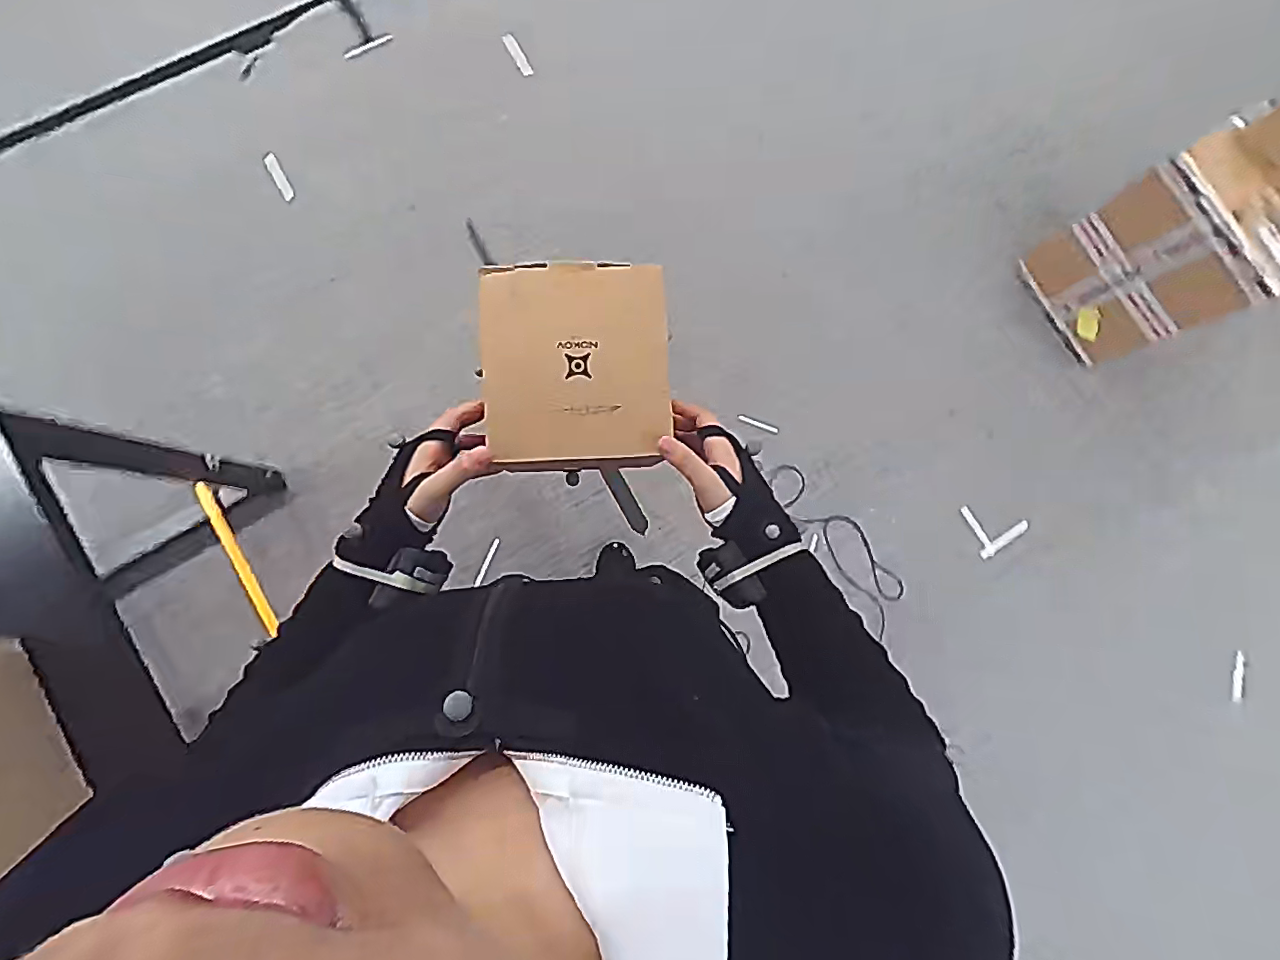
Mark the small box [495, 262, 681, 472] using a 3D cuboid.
[{"bbox_3d":[-0.054,-0.101,0.555,0.168,0.176,0.179,-1,88,-5],"label":"small box"}]

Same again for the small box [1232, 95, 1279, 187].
[{"bbox_3d":[1.453,-0.777,1.160,0.179,0.176,0.168,-32,85,-4],"label":"small box"}]
